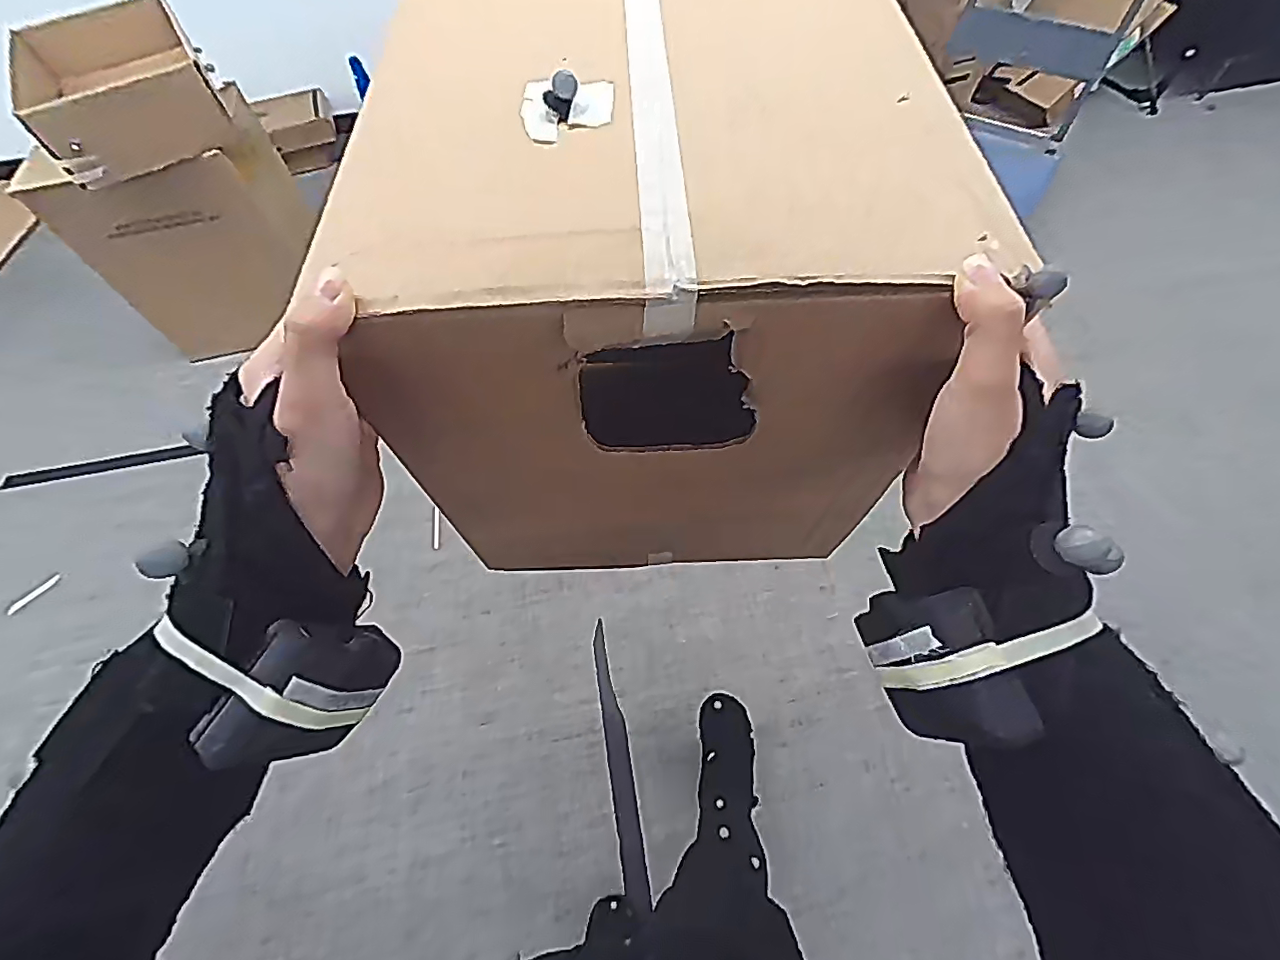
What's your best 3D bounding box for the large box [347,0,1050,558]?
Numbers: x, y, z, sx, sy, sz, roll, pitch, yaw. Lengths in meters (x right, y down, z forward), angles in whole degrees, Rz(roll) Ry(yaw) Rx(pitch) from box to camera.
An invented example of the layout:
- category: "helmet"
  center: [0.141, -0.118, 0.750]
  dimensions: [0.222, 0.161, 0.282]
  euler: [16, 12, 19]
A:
- category: "large box"
  center: [0.015, -0.179, 0.453]
  dimensions: [0.320, 0.320, 0.408]
  euler: [-4, 62, 0]
